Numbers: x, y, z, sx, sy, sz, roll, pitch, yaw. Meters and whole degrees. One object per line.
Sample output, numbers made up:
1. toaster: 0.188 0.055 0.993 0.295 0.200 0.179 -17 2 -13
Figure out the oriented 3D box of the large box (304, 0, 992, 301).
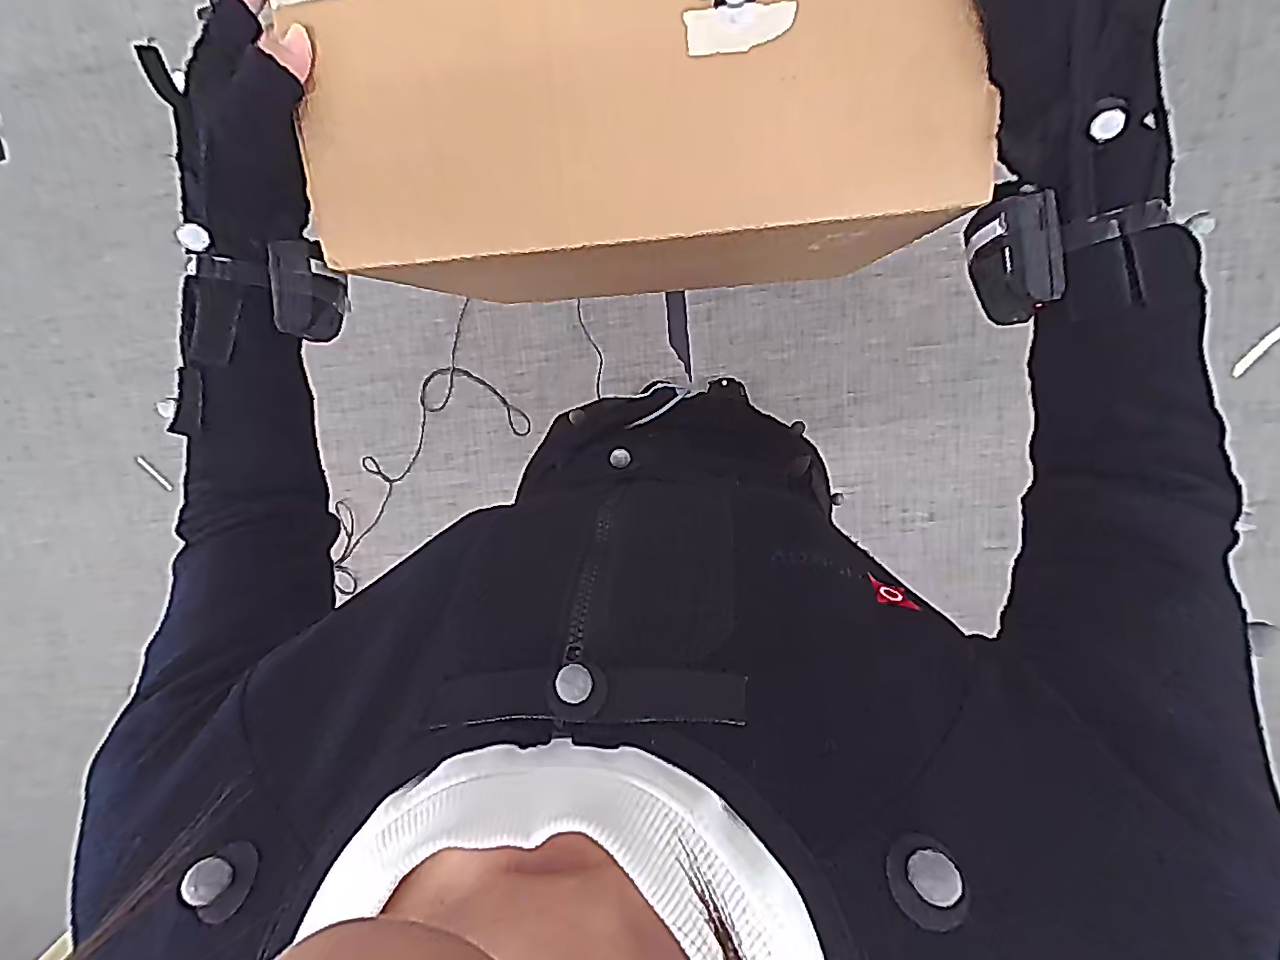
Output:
1. large box: 0.005 -0.340 0.448 0.408 0.320 0.320 -3 104 7
